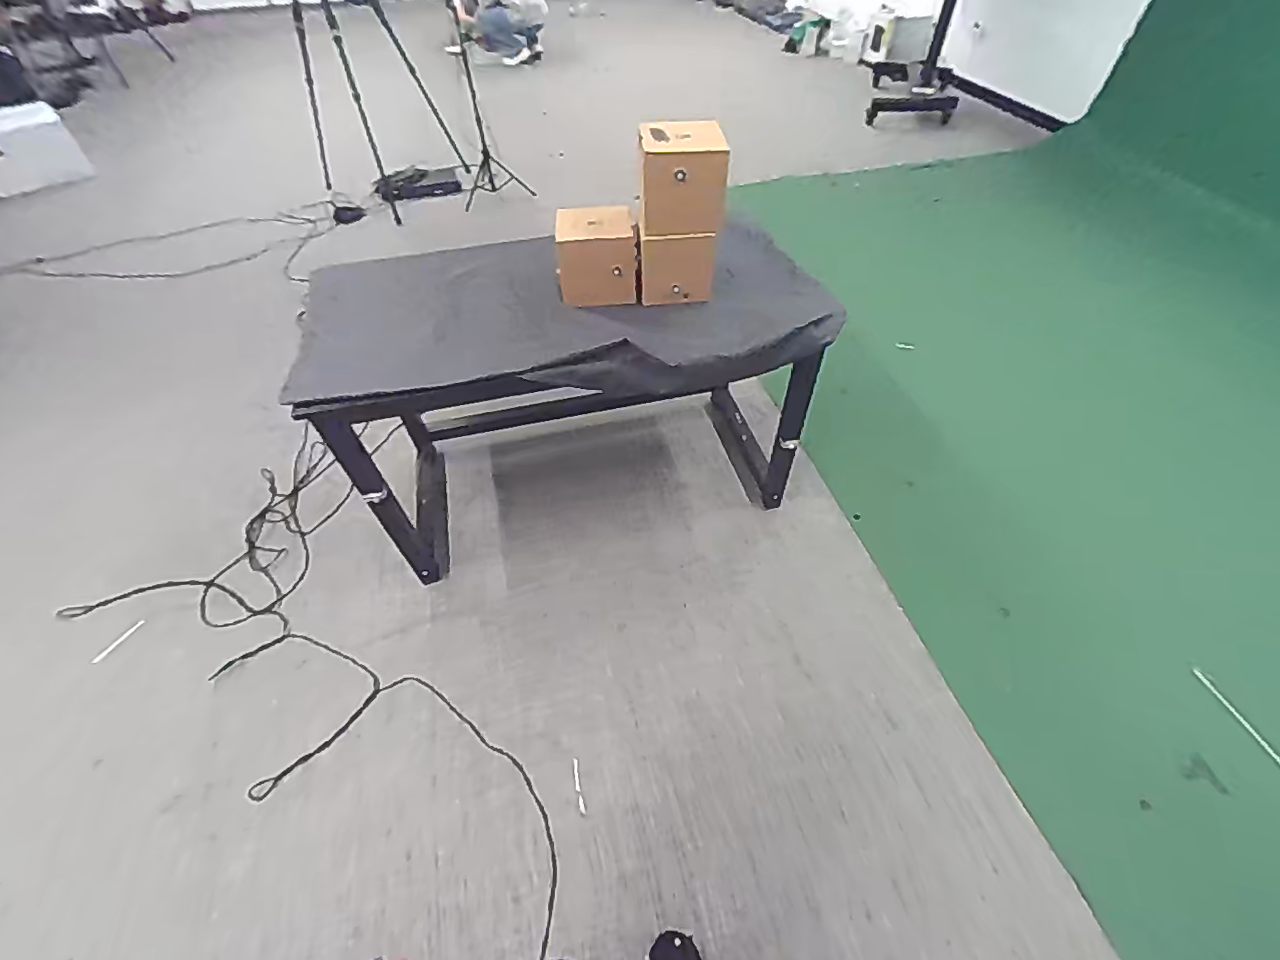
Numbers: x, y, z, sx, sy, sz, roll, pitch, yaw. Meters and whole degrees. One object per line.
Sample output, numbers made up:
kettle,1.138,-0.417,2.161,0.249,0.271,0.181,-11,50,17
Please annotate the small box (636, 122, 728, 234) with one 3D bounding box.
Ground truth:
small box,0.087,-0.655,1.180,0.179,0.176,0.168,-4,51,-2
